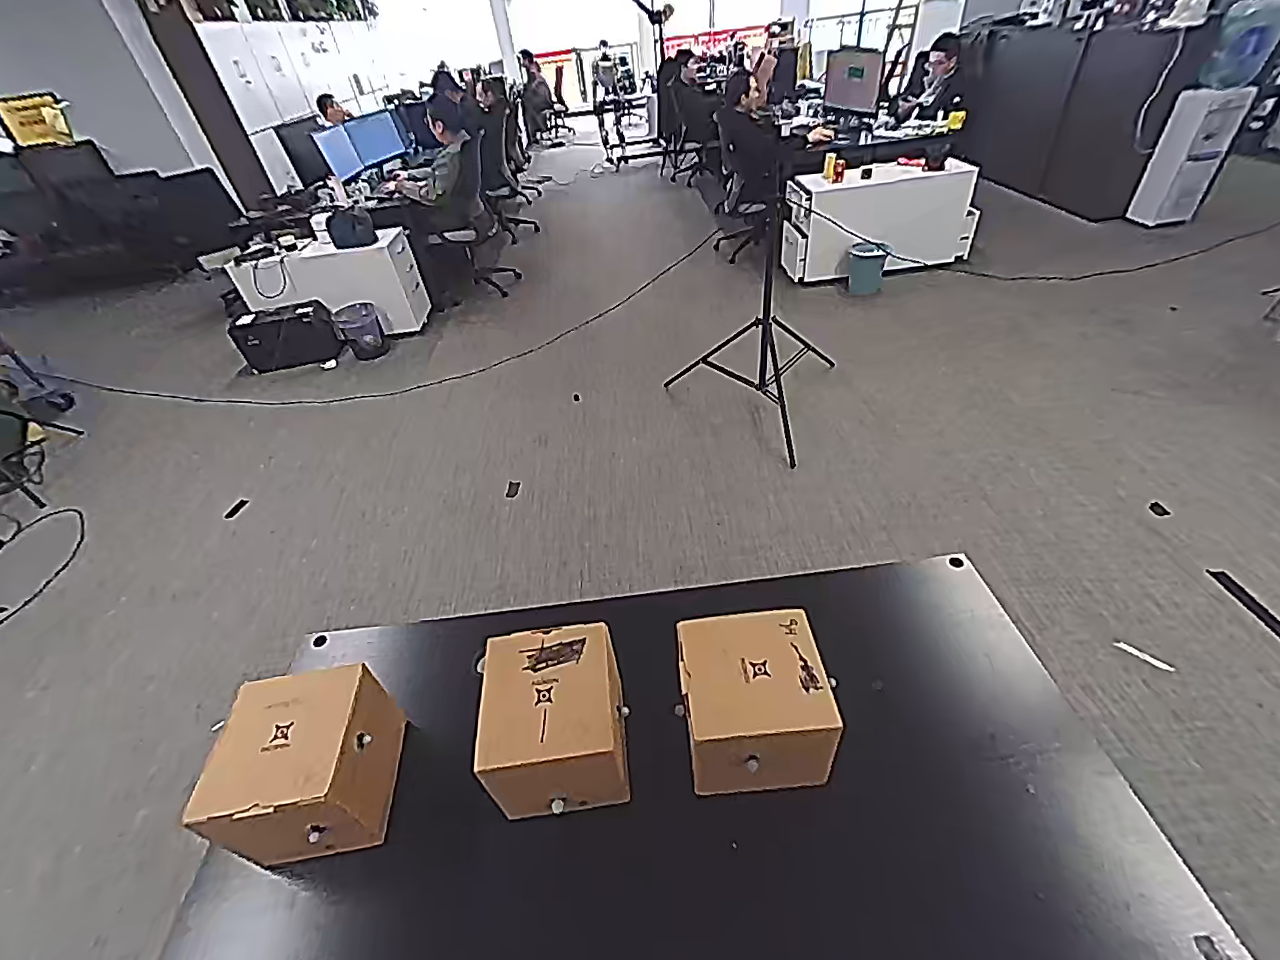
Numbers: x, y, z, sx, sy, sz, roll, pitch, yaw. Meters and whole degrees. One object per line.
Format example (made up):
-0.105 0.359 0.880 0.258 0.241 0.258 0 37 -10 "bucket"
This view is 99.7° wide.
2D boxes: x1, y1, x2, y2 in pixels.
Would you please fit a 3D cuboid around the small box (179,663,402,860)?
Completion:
-0.438 0.376 0.718 0.168 0.176 0.179 -9 40 -4 "small box"

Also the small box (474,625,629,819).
-0.109 0.324 0.729 0.168 0.176 0.179 -8 41 -1 "small box"

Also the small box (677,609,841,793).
0.149 0.297 0.722 0.179 0.176 0.168 -7 40 2 "small box"
